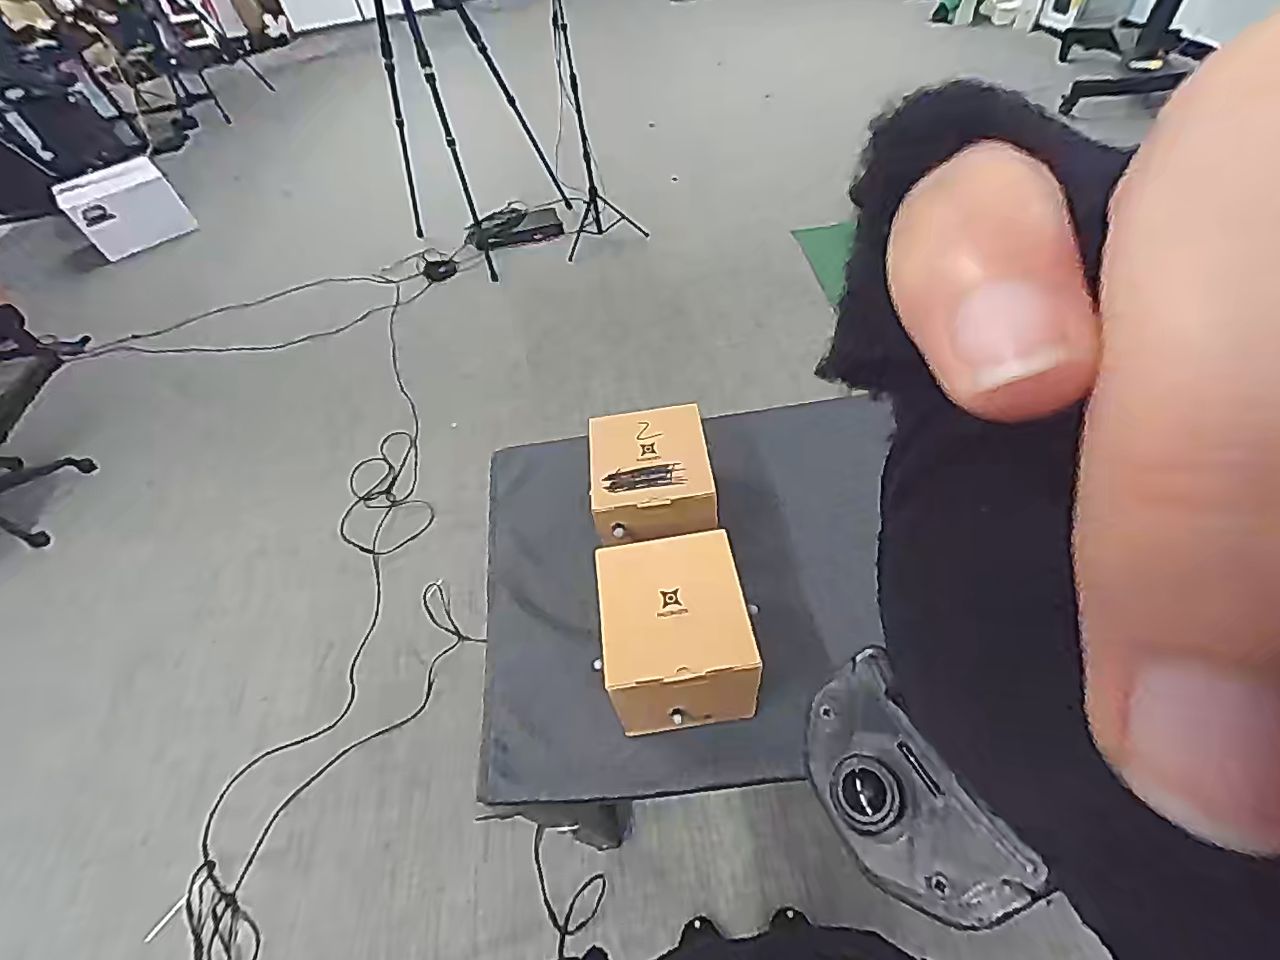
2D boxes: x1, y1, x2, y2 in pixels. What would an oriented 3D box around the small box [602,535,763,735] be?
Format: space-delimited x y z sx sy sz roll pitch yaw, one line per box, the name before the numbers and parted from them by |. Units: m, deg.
small box | 0.048 0.196 0.680 0.168 0.176 0.179 -9 49 0
